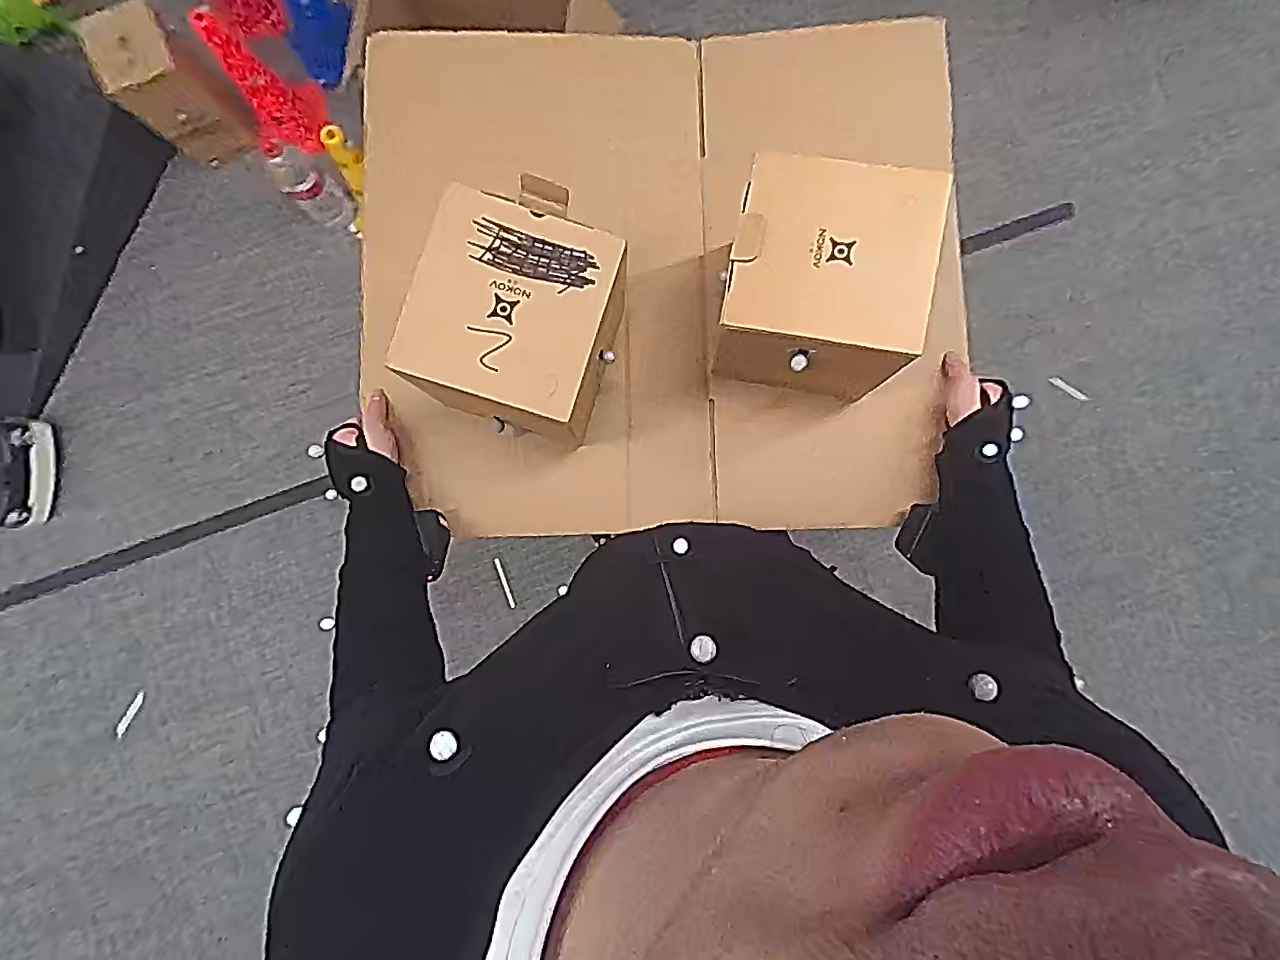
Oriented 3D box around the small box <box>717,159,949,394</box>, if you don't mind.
[{"bbox_3d":[0.184,-0.196,0.567,0.179,0.176,0.168,11,87,7],"label":"small box"}]
